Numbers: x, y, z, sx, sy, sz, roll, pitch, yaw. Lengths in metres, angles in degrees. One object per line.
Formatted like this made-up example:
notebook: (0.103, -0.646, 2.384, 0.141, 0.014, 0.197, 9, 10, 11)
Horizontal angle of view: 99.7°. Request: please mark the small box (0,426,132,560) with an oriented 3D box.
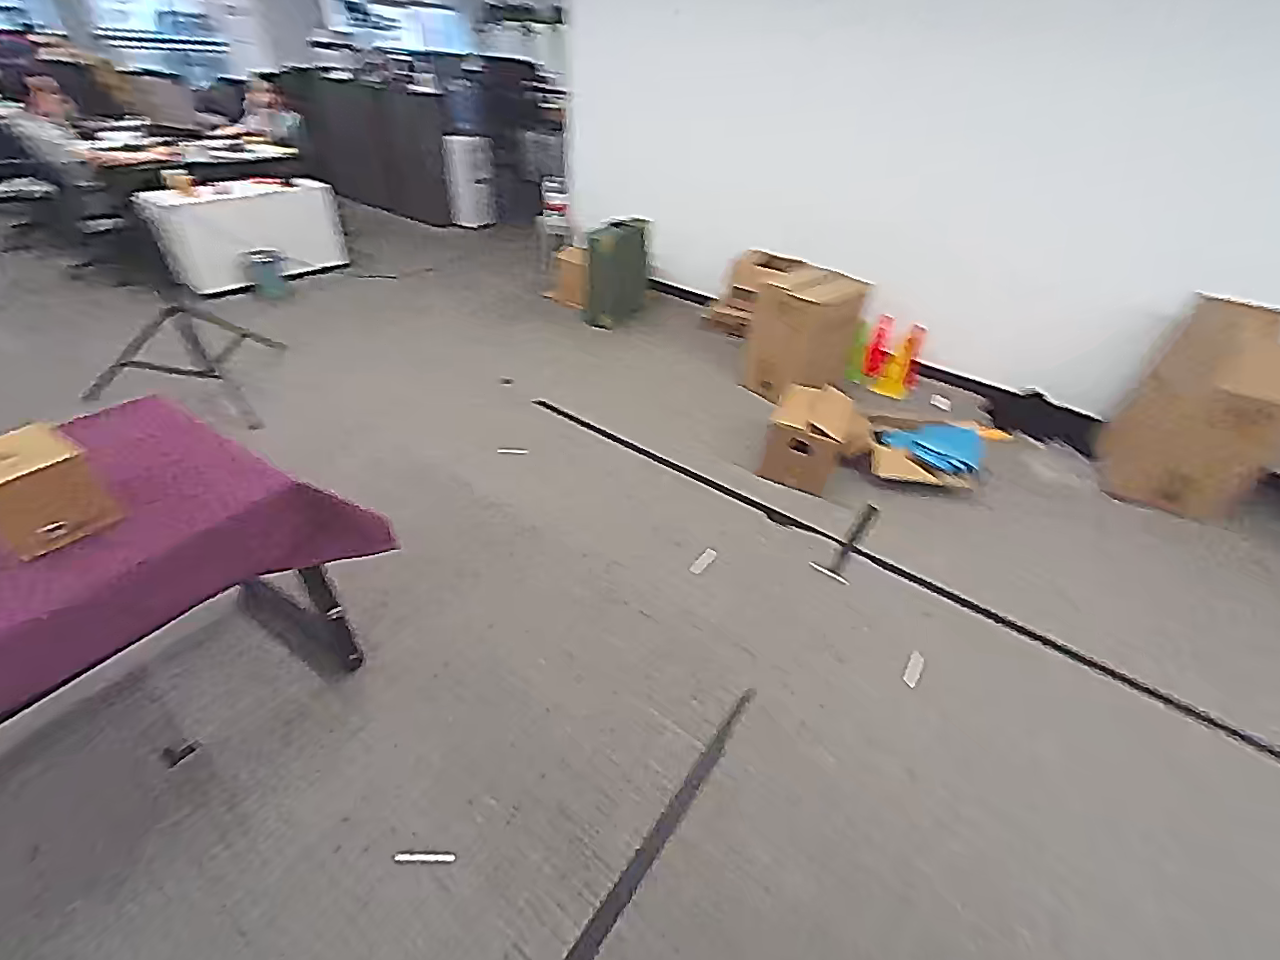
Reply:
small box: (-1.150, 0.025, 1.042, 0.179, 0.176, 0.168, 24, 43, 22)
